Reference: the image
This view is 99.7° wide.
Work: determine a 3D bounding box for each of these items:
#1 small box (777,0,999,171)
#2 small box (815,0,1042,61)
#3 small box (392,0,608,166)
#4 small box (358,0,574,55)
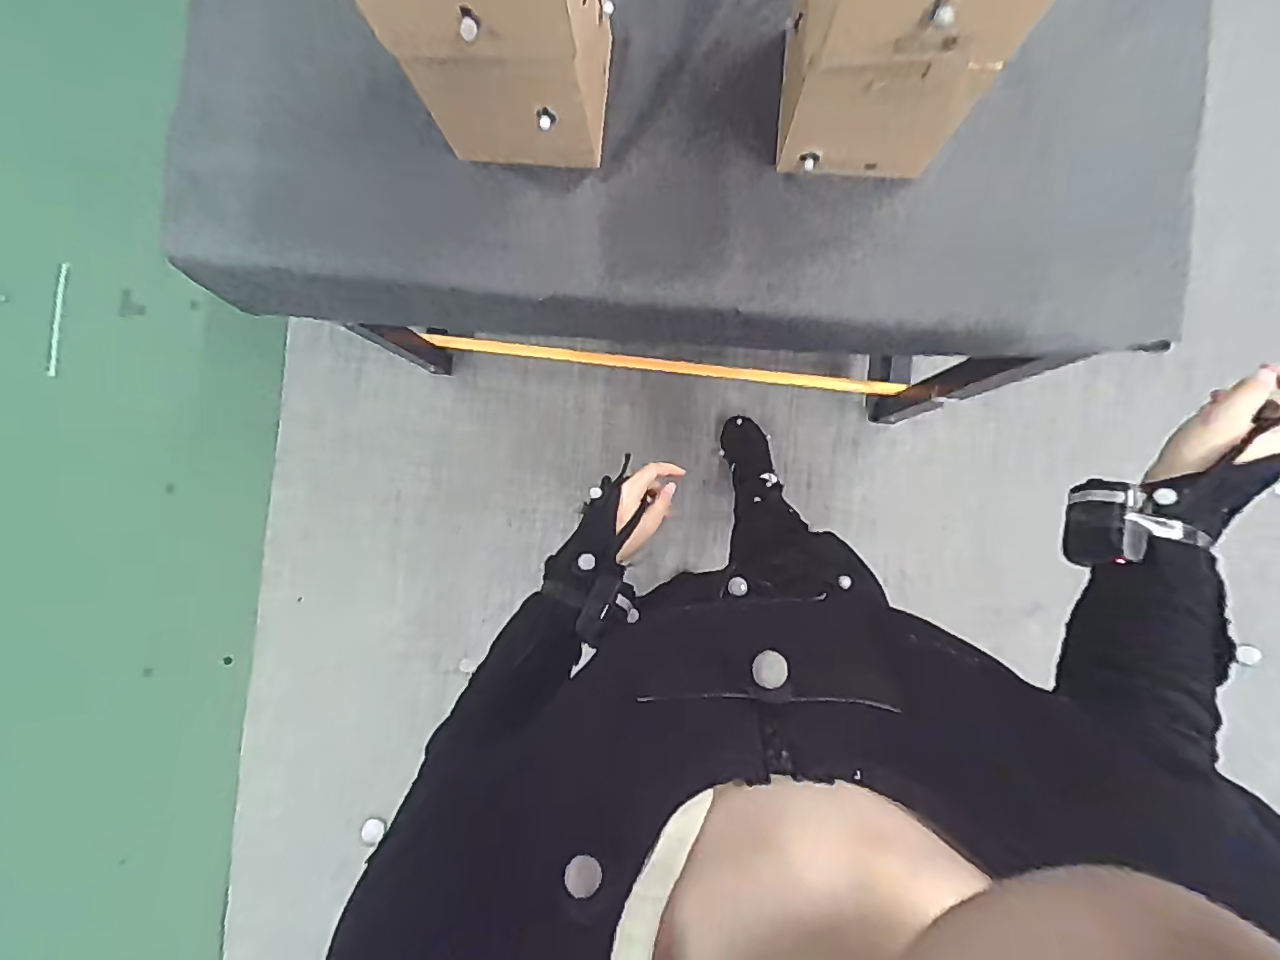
[{"bbox_3d":[0.240,-0.448,0.554,0.168,0.176,0.179,5,87,3],"label":"small box"},{"bbox_3d":[0.228,-0.454,0.389,0.168,0.176,0.179,-1,88,4],"label":"small box"},{"bbox_3d":[-0.132,-0.464,0.576,0.179,0.176,0.168,4,86,4],"label":"small box"},{"bbox_3d":[-0.142,-0.467,0.412,0.179,0.176,0.168,2,86,3],"label":"small box"}]
